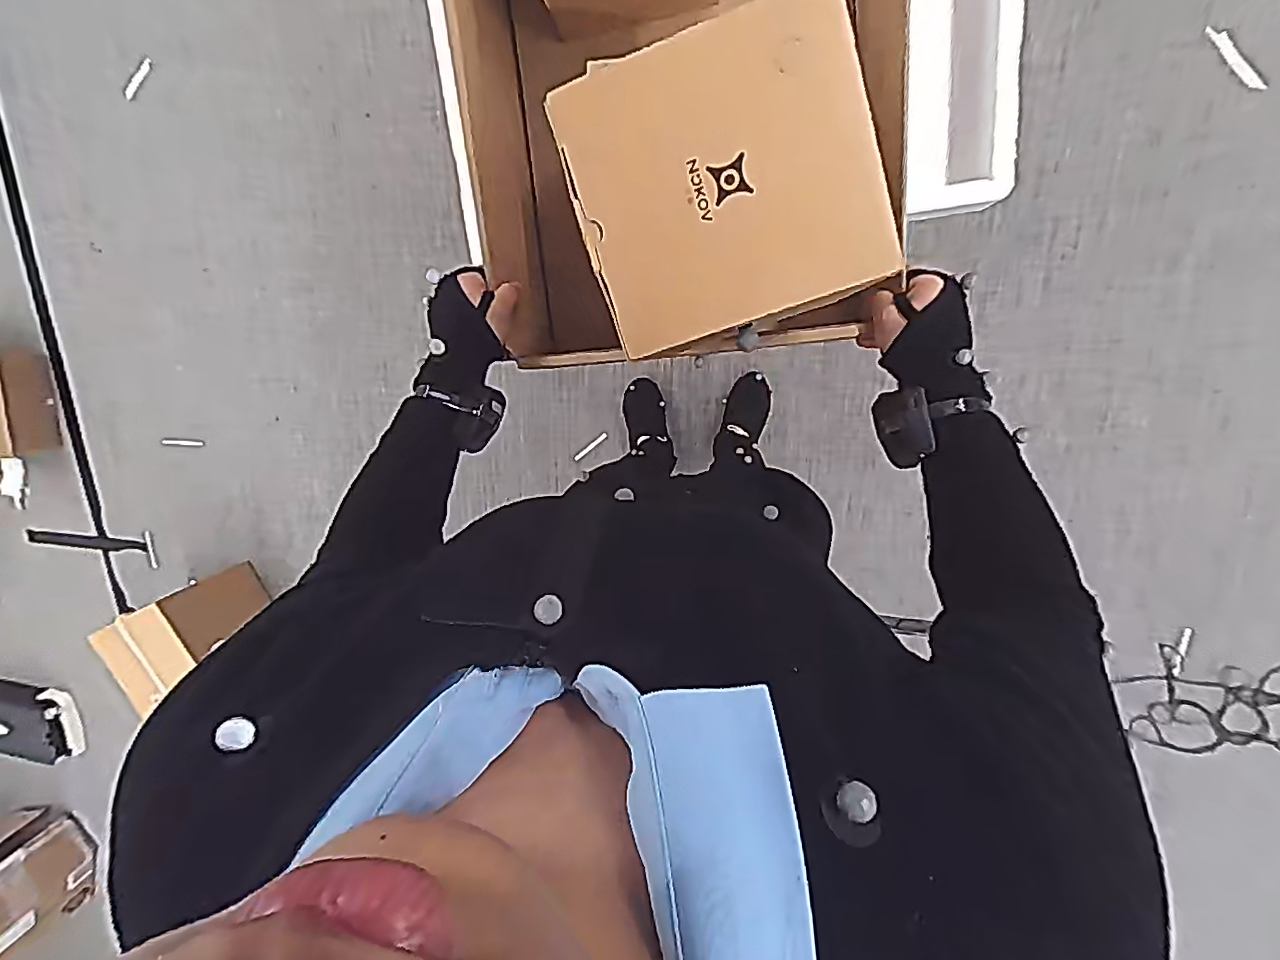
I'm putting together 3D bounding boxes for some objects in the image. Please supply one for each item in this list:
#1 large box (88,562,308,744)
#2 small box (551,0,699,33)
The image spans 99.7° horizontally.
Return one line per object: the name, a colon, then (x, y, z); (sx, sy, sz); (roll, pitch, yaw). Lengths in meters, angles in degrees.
large box: (-1.383, 0.539, 1.727); (0.320, 0.320, 0.408); (-24, 100, 16)
small box: (-0.018, -0.556, 0.488); (0.179, 0.176, 0.168); (-7, 102, 9)
